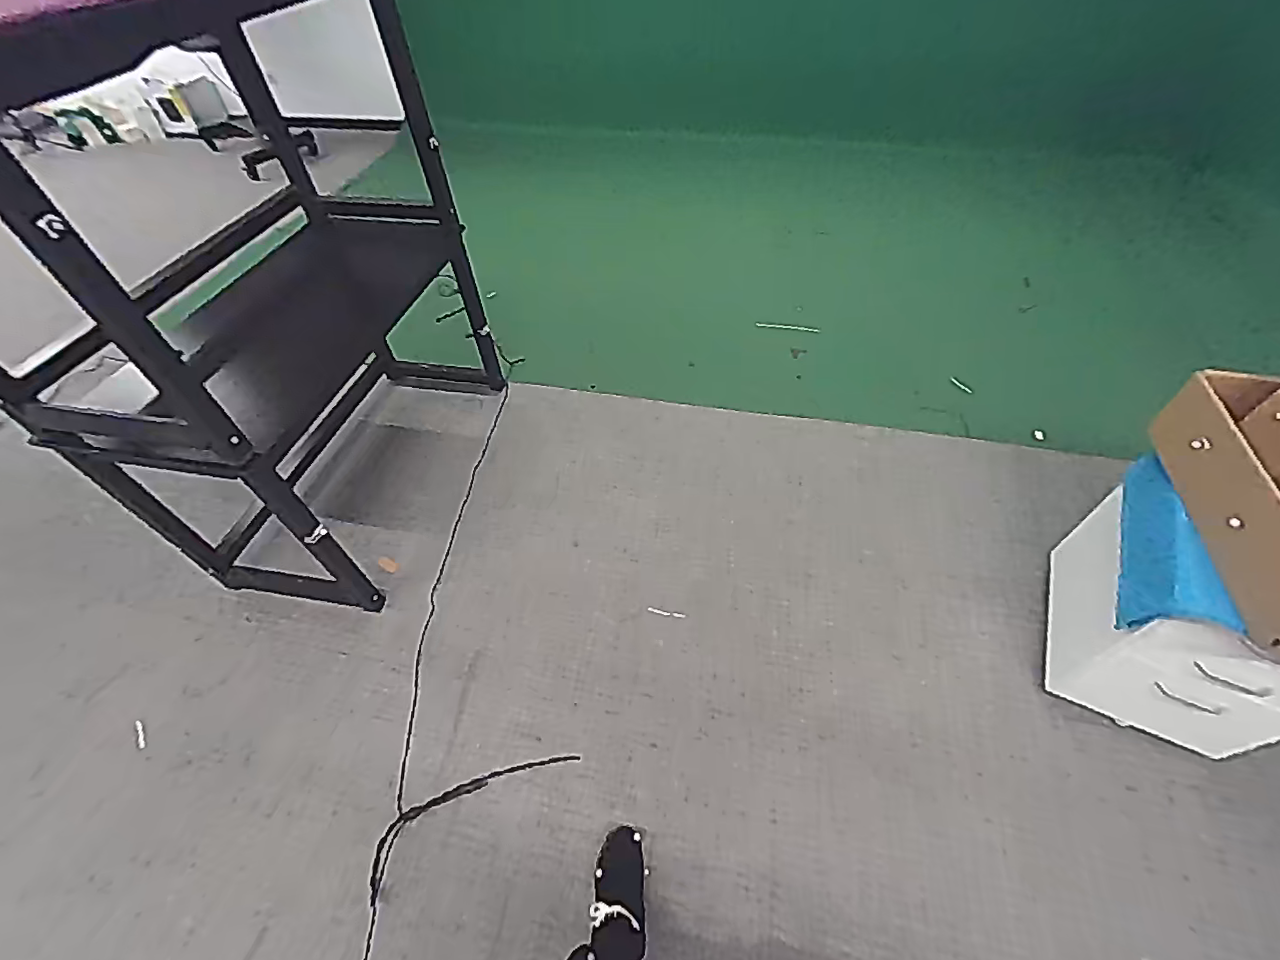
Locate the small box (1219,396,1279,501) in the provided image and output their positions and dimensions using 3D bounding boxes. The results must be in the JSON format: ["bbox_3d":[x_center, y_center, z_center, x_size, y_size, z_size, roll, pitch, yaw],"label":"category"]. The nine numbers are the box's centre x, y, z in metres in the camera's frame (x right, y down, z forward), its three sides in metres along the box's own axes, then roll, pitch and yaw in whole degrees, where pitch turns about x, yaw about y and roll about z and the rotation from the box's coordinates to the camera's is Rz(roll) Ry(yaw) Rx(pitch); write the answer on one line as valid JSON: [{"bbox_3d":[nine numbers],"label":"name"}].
[{"bbox_3d":[1.410,-0.059,1.137,0.179,0.176,0.168,11,51,8],"label":"small box"}]
